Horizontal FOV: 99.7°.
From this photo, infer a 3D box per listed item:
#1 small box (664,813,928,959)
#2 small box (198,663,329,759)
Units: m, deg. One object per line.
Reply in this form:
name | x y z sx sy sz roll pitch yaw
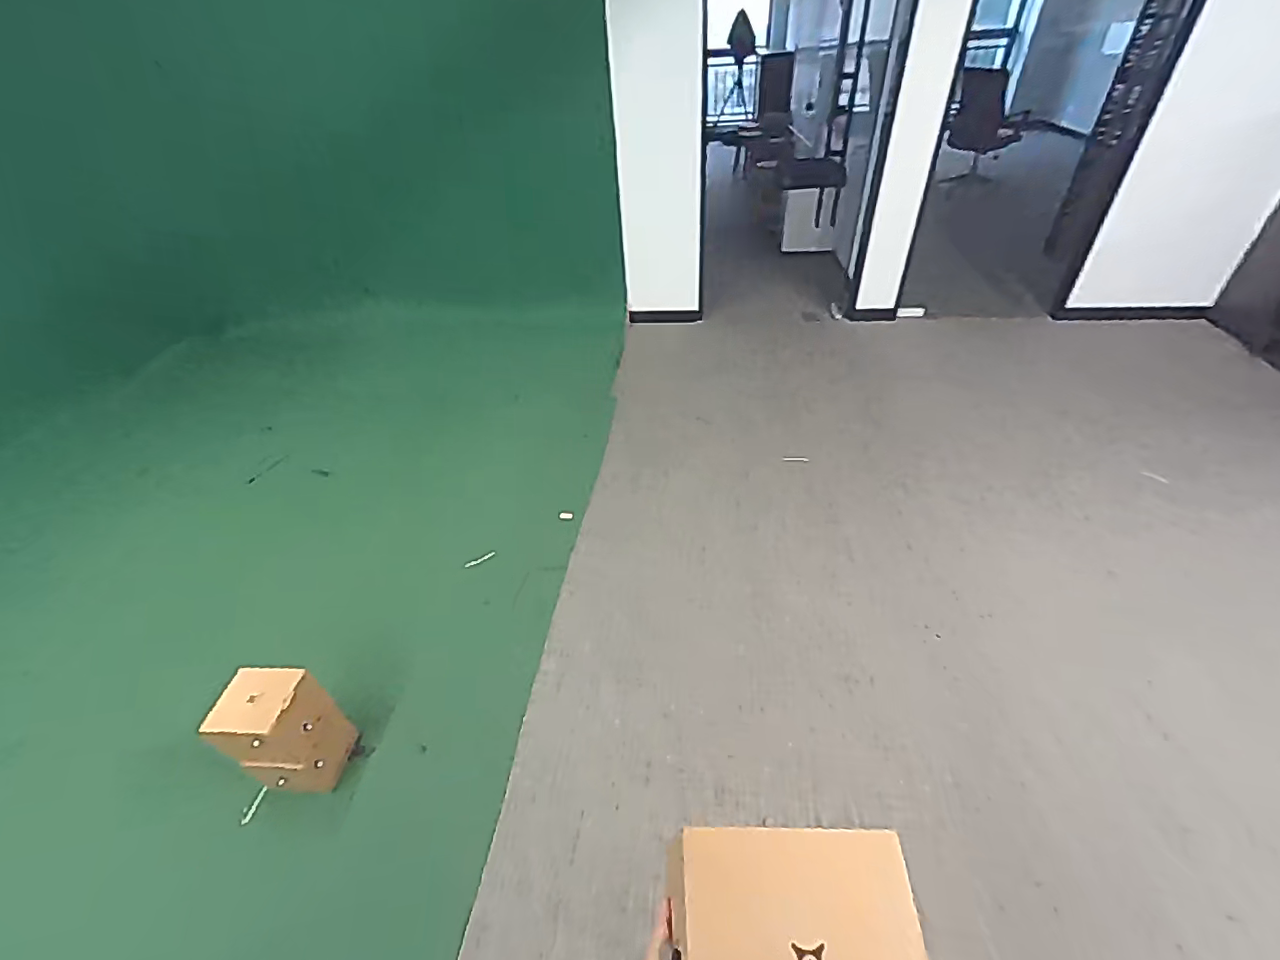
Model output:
small box | 0.108 0.374 0.420 0.168 0.176 0.179 2 53 -1
small box | -0.925 0.576 1.346 0.179 0.176 0.168 0 40 4
